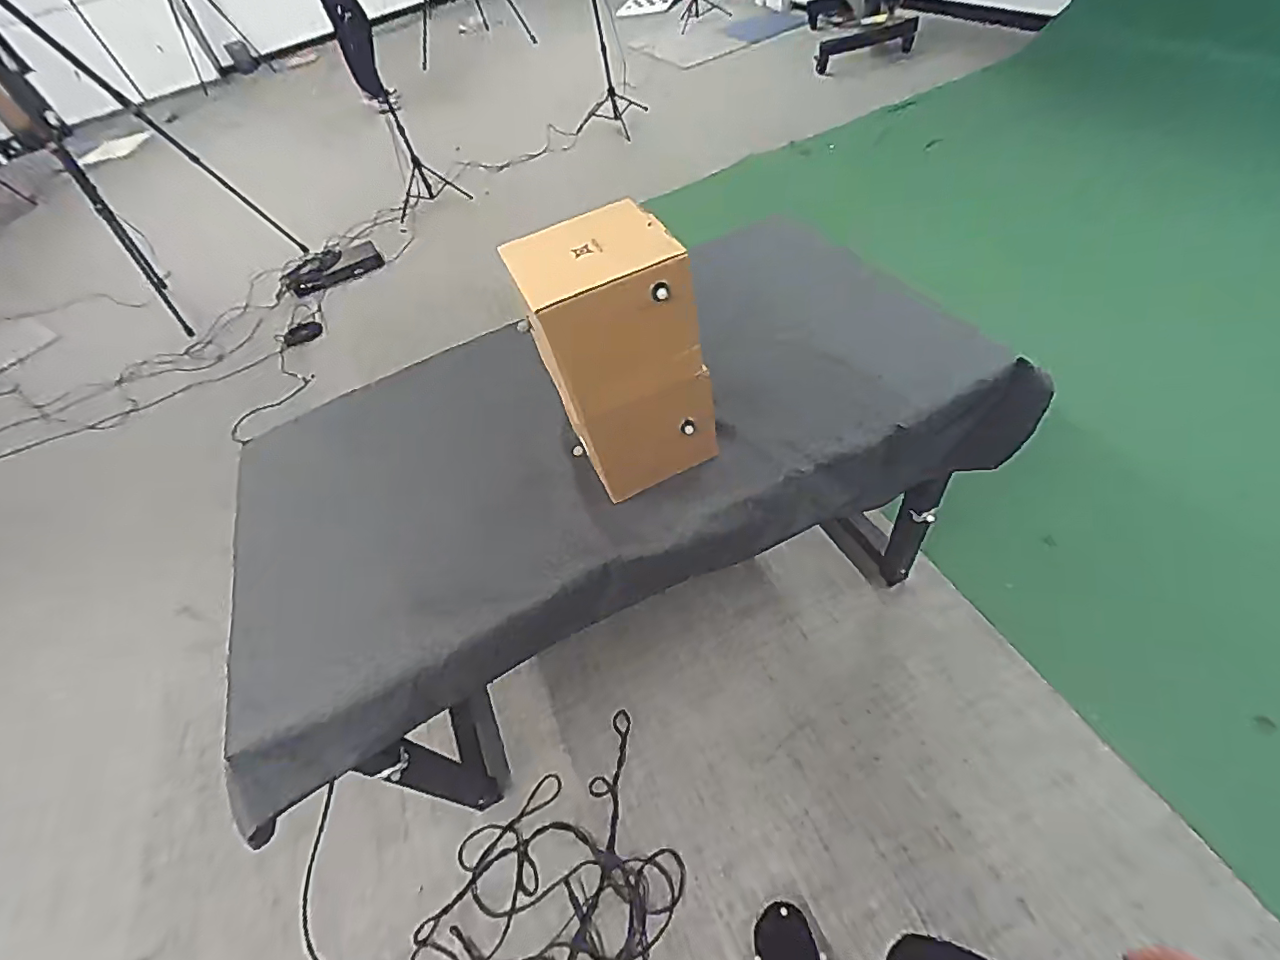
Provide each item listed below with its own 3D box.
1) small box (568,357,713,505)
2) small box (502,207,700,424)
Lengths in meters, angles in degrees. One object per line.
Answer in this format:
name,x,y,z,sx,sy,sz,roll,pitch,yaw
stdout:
small box,-0.004,-0.098,0.786,0.179,0.176,0.168,-27,50,-7
small box,-0.043,-0.198,0.663,0.179,0.176,0.168,-24,49,-7
